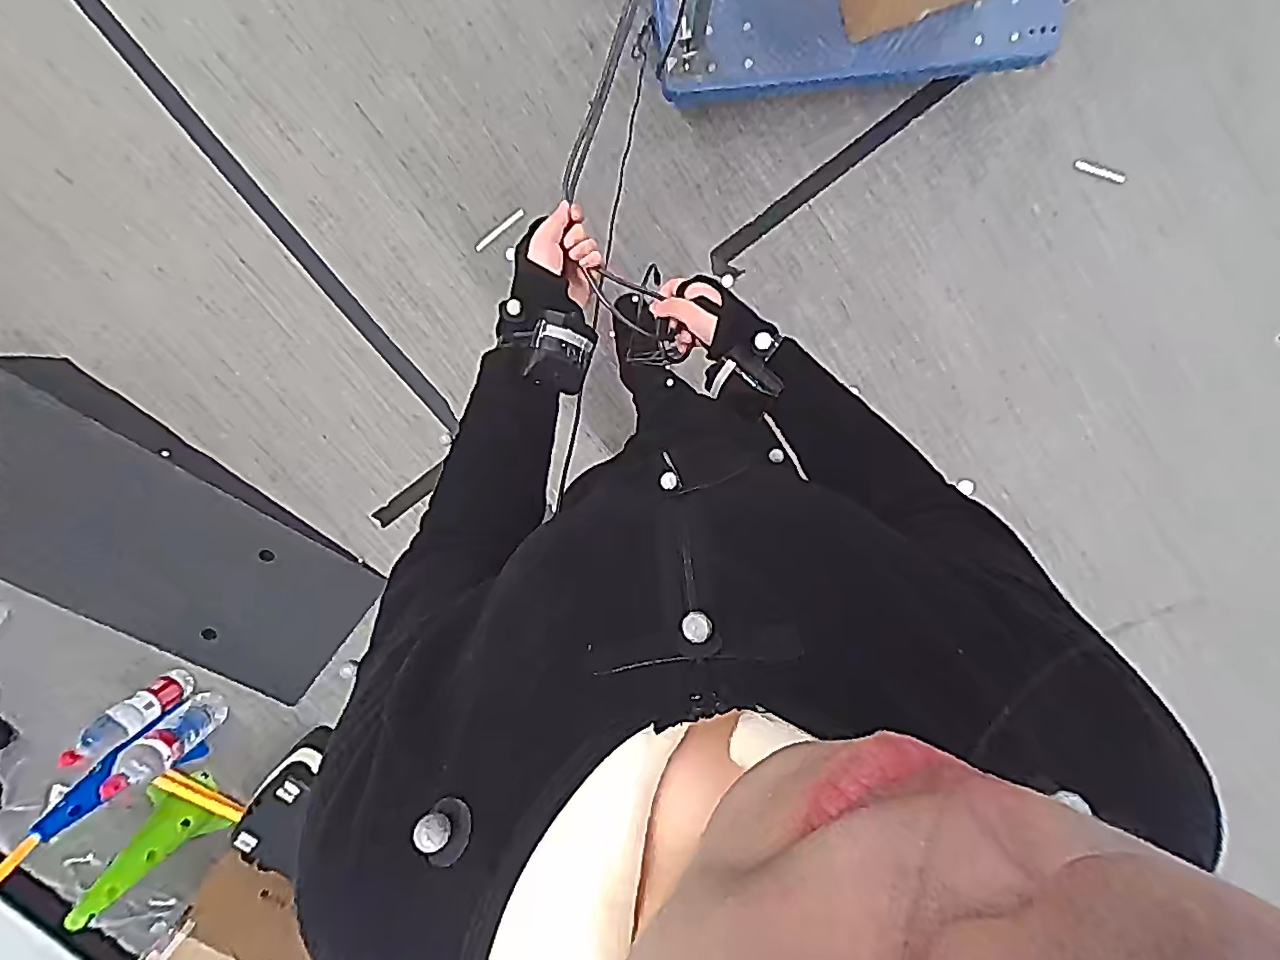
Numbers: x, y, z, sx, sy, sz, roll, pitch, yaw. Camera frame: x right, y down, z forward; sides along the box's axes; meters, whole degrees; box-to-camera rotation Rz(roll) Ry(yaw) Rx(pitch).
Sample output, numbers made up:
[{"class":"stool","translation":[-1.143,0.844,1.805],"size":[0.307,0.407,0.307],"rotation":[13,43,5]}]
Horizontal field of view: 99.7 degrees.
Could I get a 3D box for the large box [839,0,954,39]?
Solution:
[{"class":"large box","translation":[0.522,-1.138,0.964],"size":[0.320,0.320,0.408],"rotation":[-20,102,2]}]
